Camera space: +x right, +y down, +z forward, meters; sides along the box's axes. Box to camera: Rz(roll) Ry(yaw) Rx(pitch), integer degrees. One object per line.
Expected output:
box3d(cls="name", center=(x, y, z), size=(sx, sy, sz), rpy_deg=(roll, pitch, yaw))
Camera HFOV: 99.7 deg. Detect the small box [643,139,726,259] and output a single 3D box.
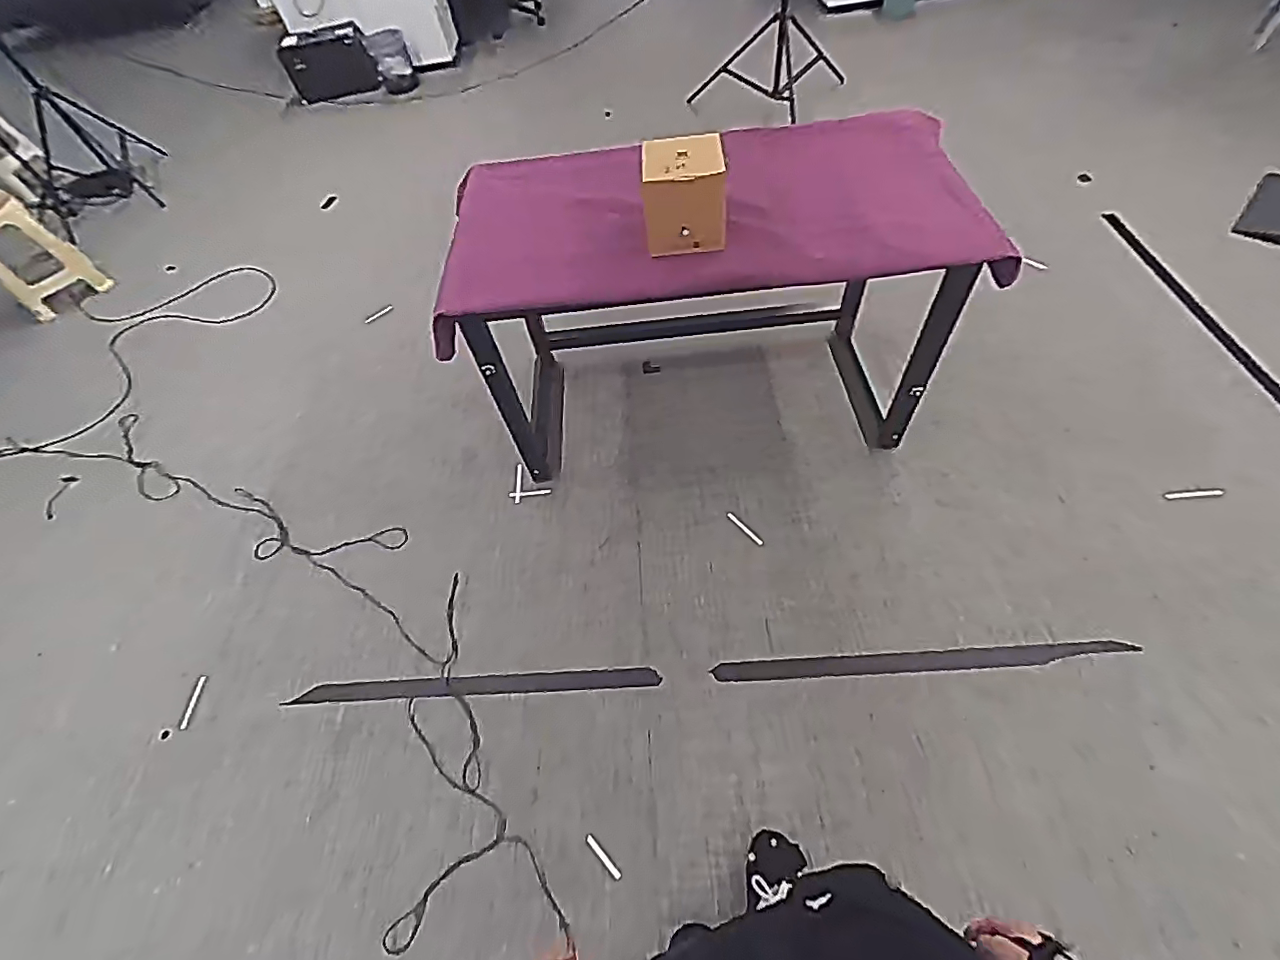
box3d(cls="small box", center=(0.097, -0.610, 1.183), size=(0.168, 0.176, 0.179), rpy_deg=(-4, 55, 5))
